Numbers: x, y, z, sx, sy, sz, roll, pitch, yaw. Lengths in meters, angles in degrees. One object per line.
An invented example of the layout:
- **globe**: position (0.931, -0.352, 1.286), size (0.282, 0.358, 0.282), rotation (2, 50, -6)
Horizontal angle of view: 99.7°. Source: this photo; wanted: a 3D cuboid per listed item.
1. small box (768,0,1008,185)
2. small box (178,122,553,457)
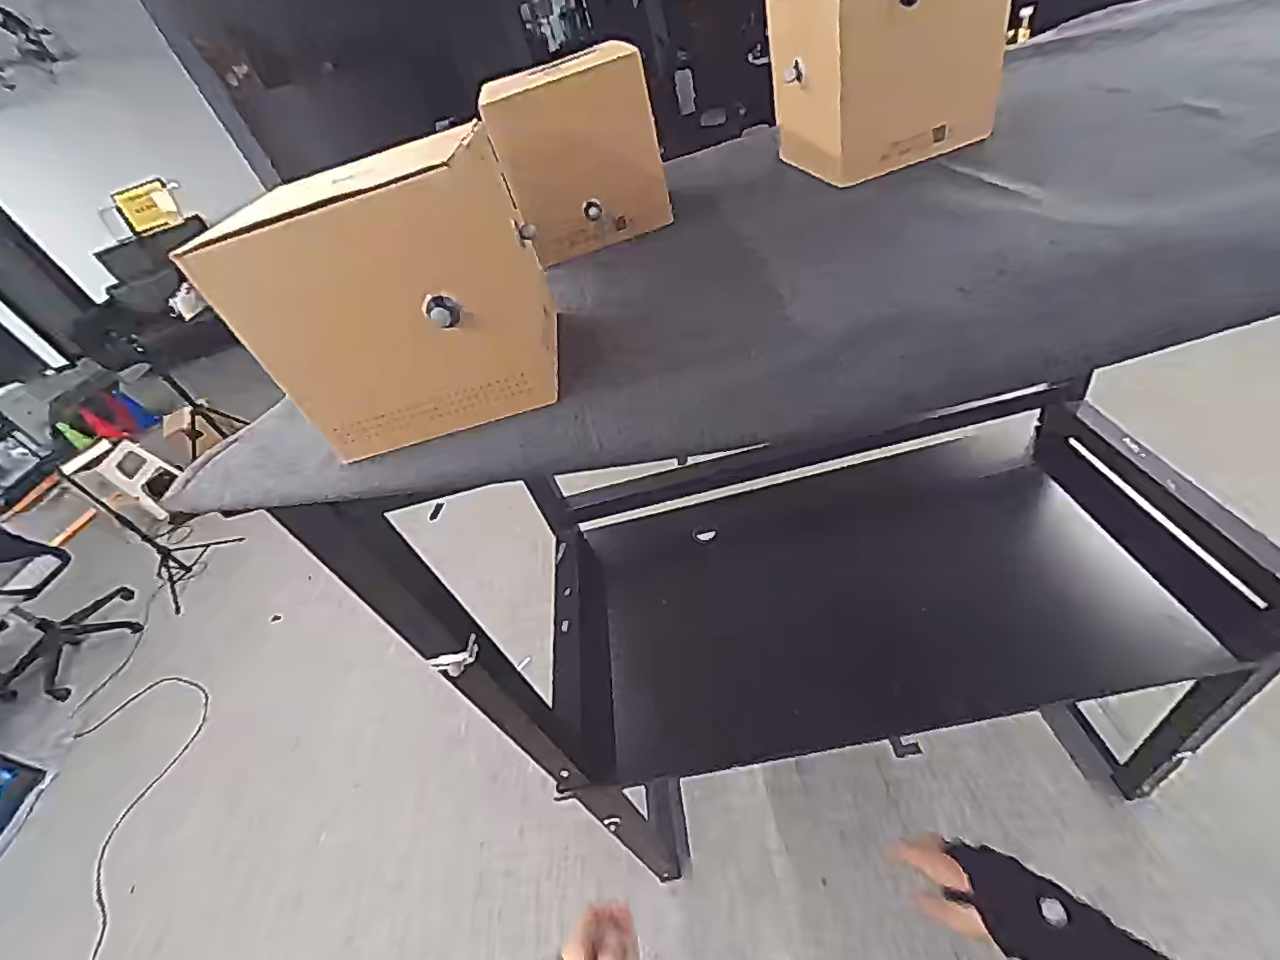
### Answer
- **small box**: position (0.250, -0.438, 0.578), size (0.168, 0.176, 0.179), rotation (-19, 40, 2)
- **small box**: position (-0.174, -0.144, 0.417), size (0.179, 0.176, 0.168), rotation (-15, 40, 4)
